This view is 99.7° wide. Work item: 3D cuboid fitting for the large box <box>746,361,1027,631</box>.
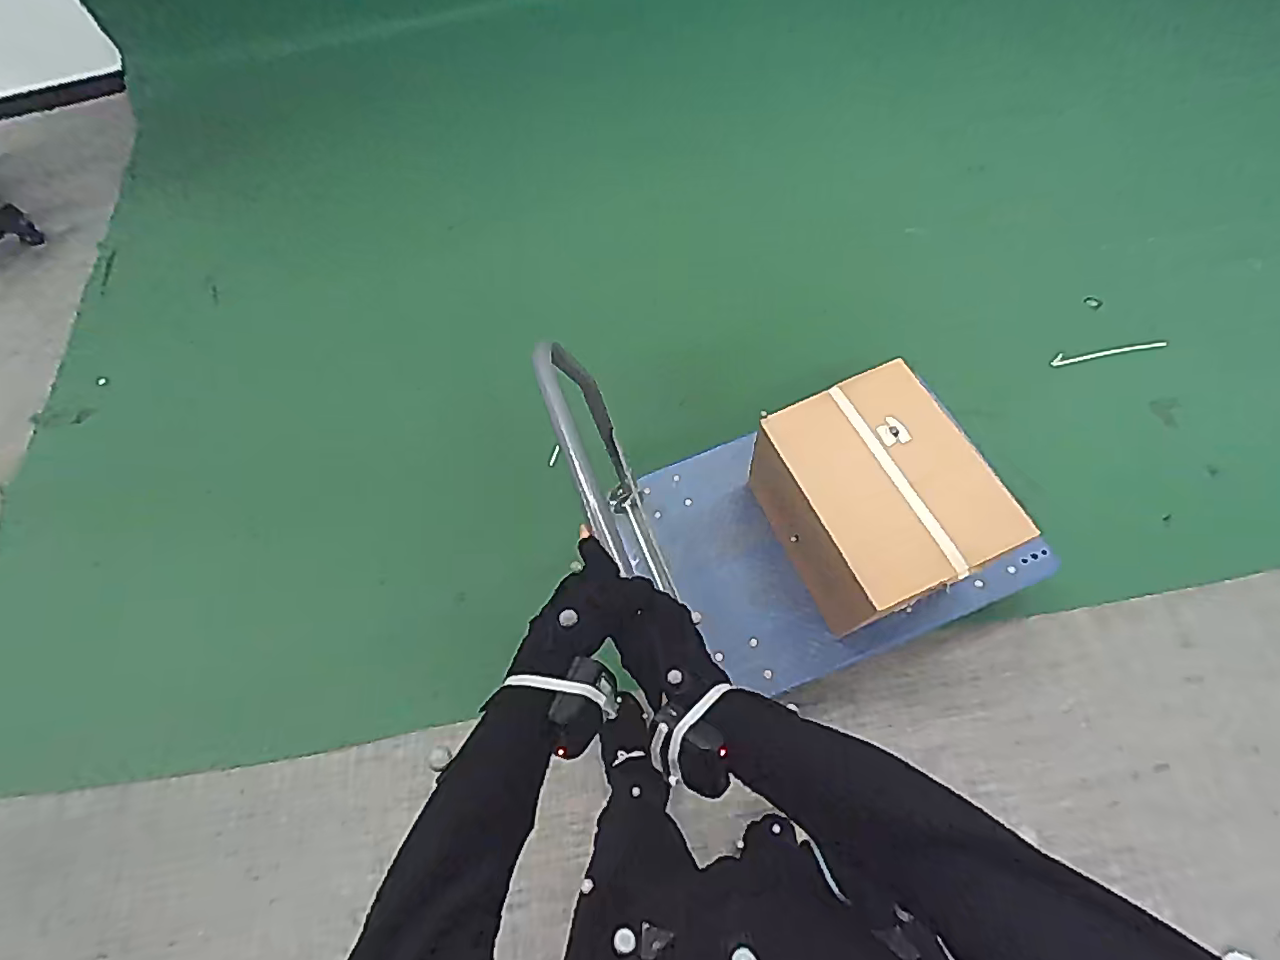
[{"bbox_3d":[0.457,0.045,1.118,0.320,0.320,0.408,-24,65,-5],"label":"large box"}]
